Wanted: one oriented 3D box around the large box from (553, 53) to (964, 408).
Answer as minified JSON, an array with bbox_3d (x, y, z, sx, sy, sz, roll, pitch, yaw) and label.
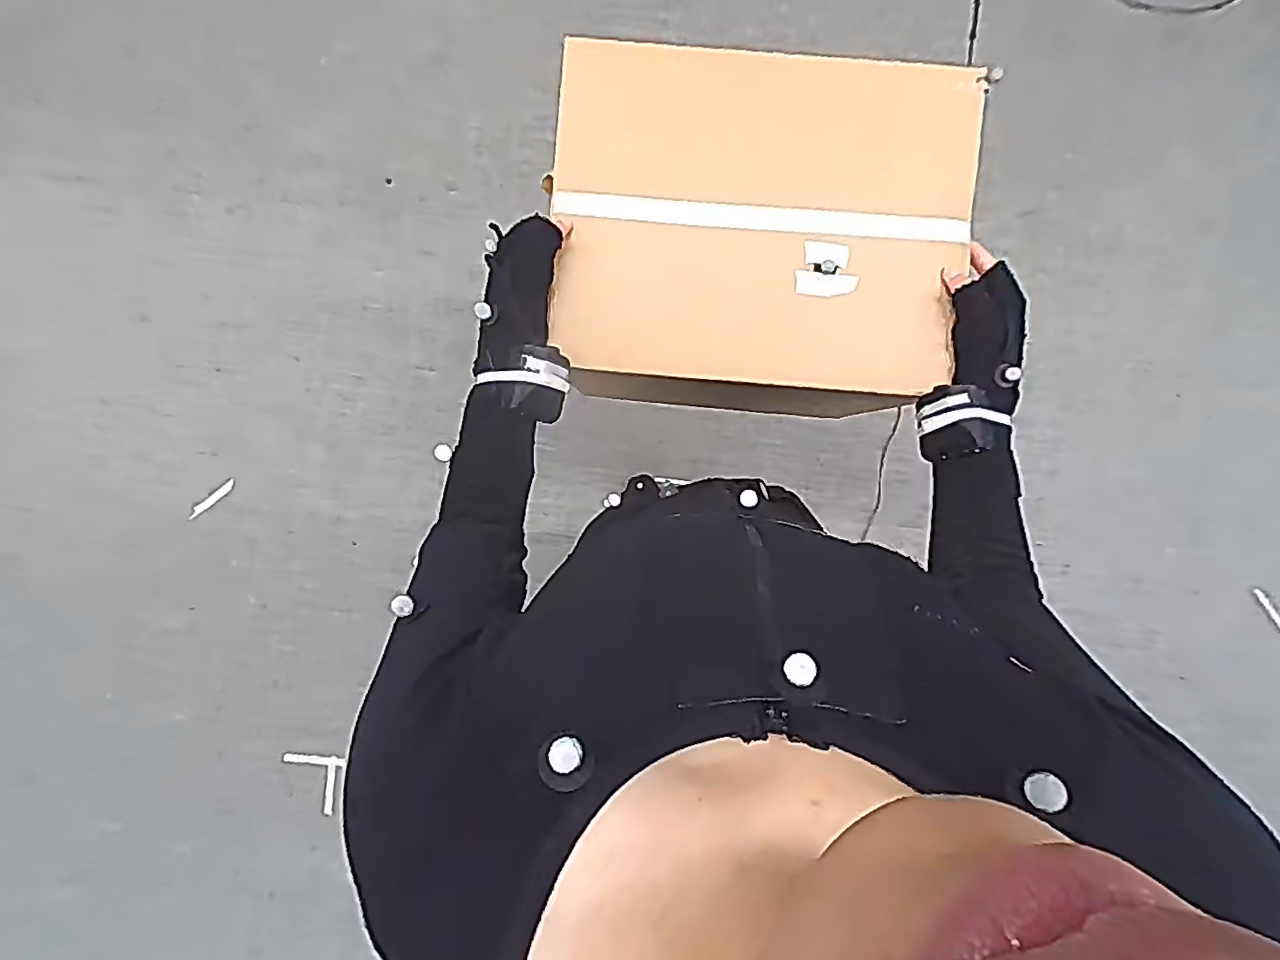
[{"bbox_3d":[0.116,-0.269,0.693,0.408,0.320,0.320,4,94,0],"label":"large box"}]
